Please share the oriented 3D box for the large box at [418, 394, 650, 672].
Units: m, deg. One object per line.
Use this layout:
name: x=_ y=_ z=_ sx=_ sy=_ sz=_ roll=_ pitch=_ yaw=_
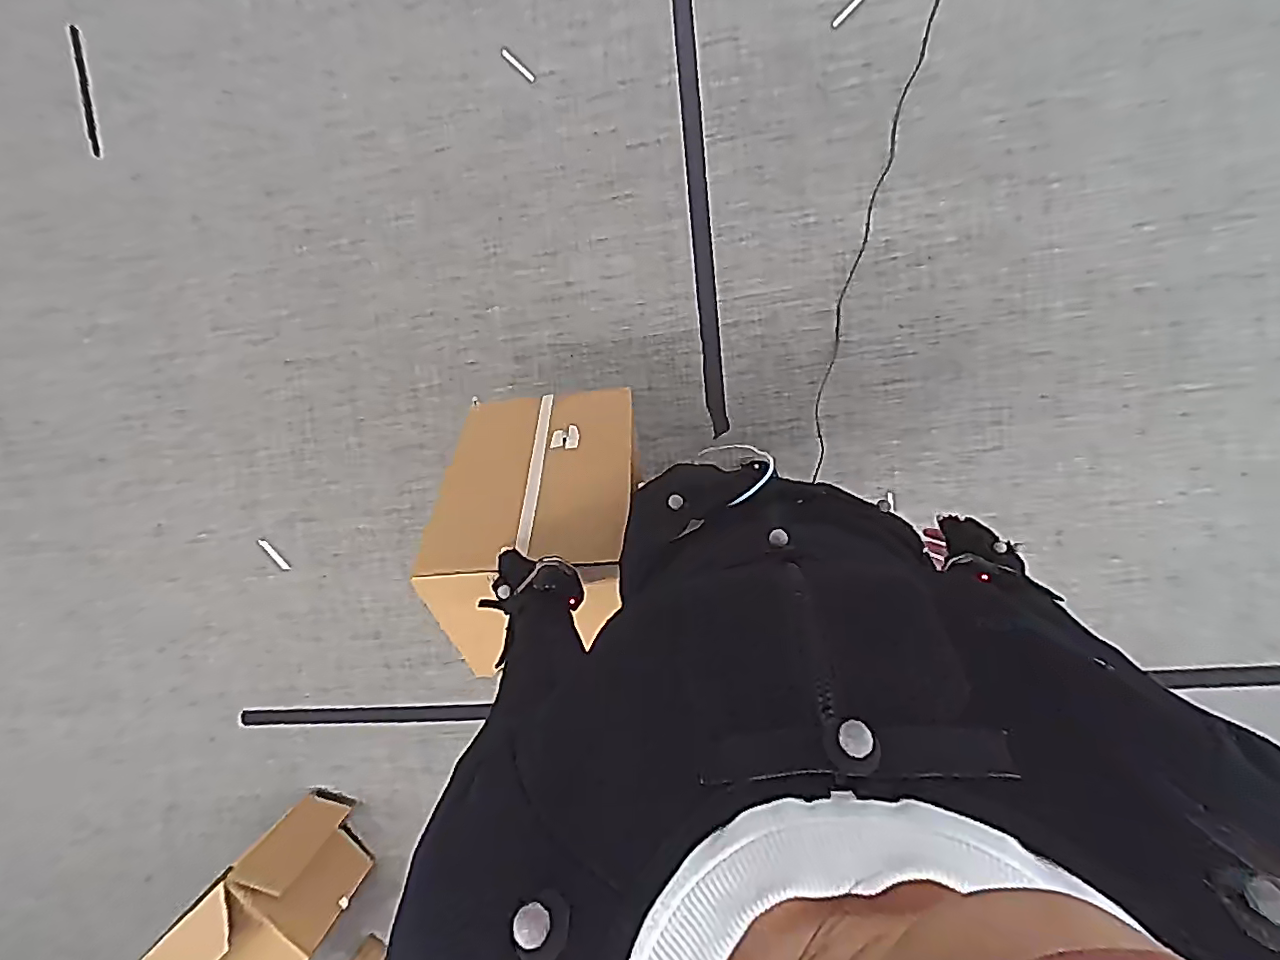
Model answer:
large box: x=-0.155 y=0.093 z=1.004 sx=0.320 sy=0.408 sz=0.320 roll=-4 pitch=134 yaw=4
